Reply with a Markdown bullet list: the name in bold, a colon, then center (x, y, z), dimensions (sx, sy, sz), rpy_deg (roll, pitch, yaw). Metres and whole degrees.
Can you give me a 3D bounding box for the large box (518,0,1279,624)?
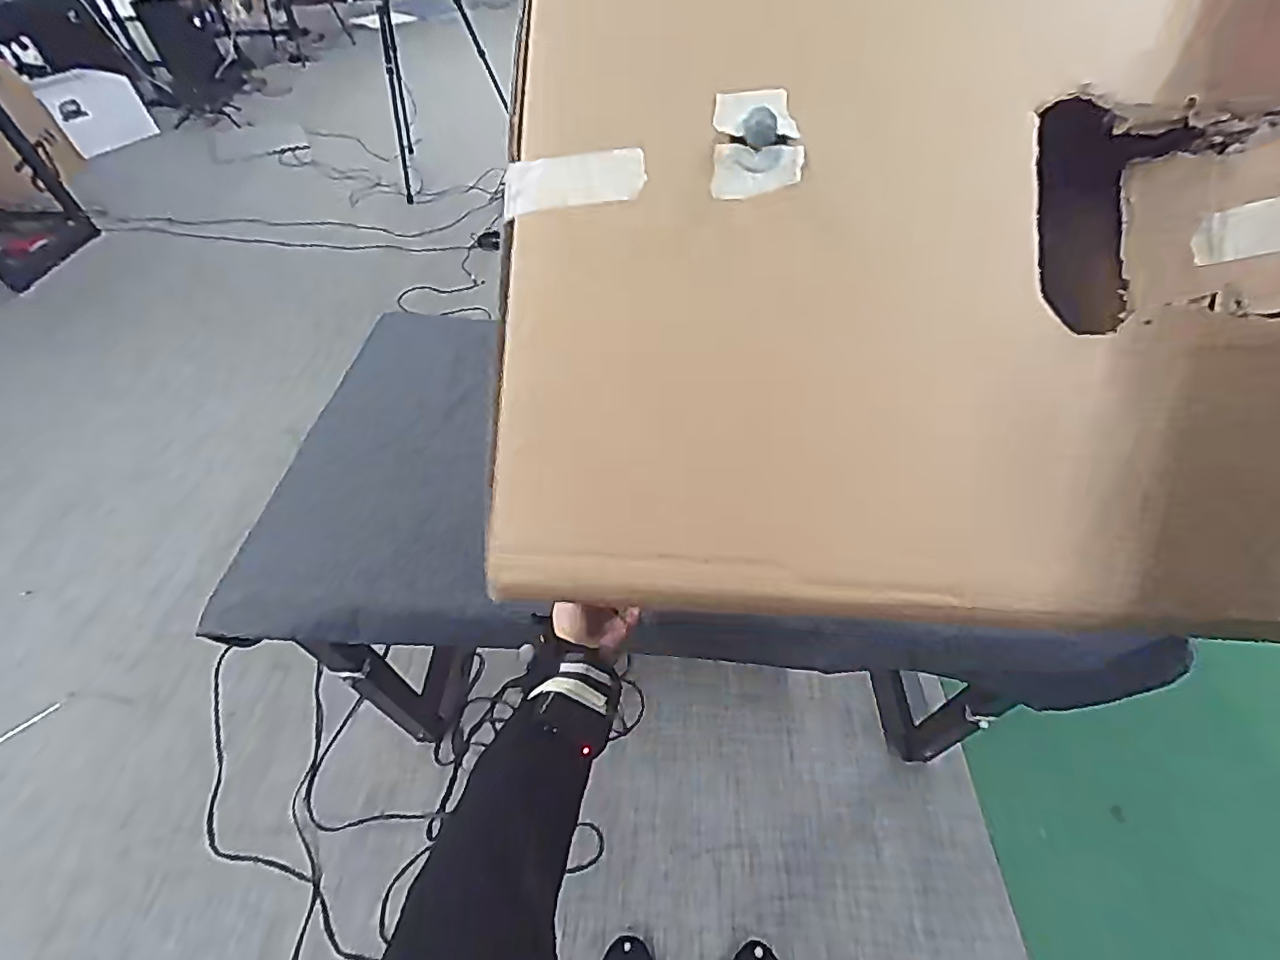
- **large box**: center (0.103, -0.084, 0.414), dimensions (0.320, 0.408, 0.320), rpy_deg (2, 85, 0)
